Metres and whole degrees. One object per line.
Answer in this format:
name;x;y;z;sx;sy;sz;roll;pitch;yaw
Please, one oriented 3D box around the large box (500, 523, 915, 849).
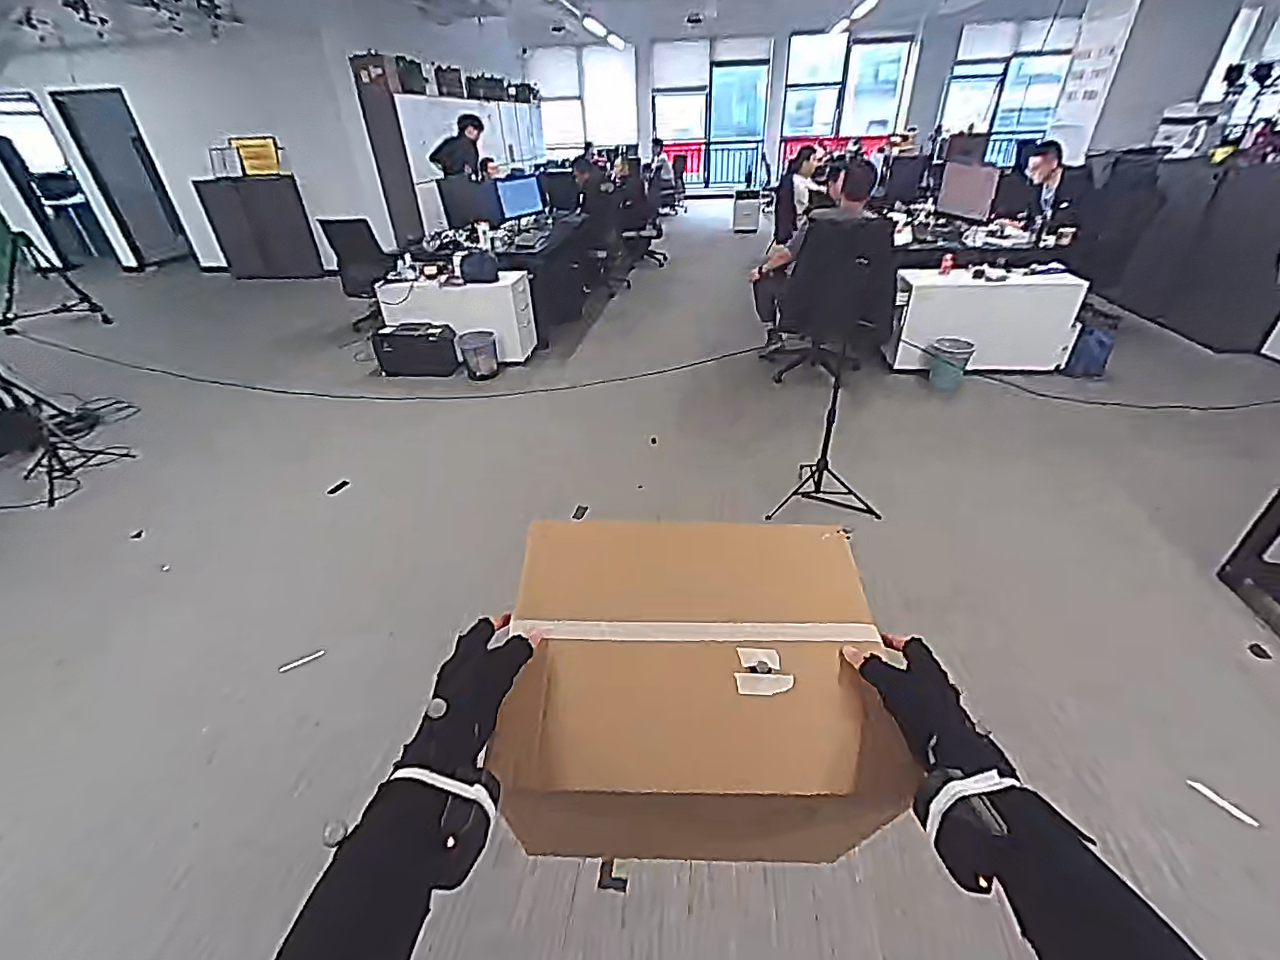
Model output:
large box;0.060;0.272;0.715;0.408;0.320;0.320;1;46;0
